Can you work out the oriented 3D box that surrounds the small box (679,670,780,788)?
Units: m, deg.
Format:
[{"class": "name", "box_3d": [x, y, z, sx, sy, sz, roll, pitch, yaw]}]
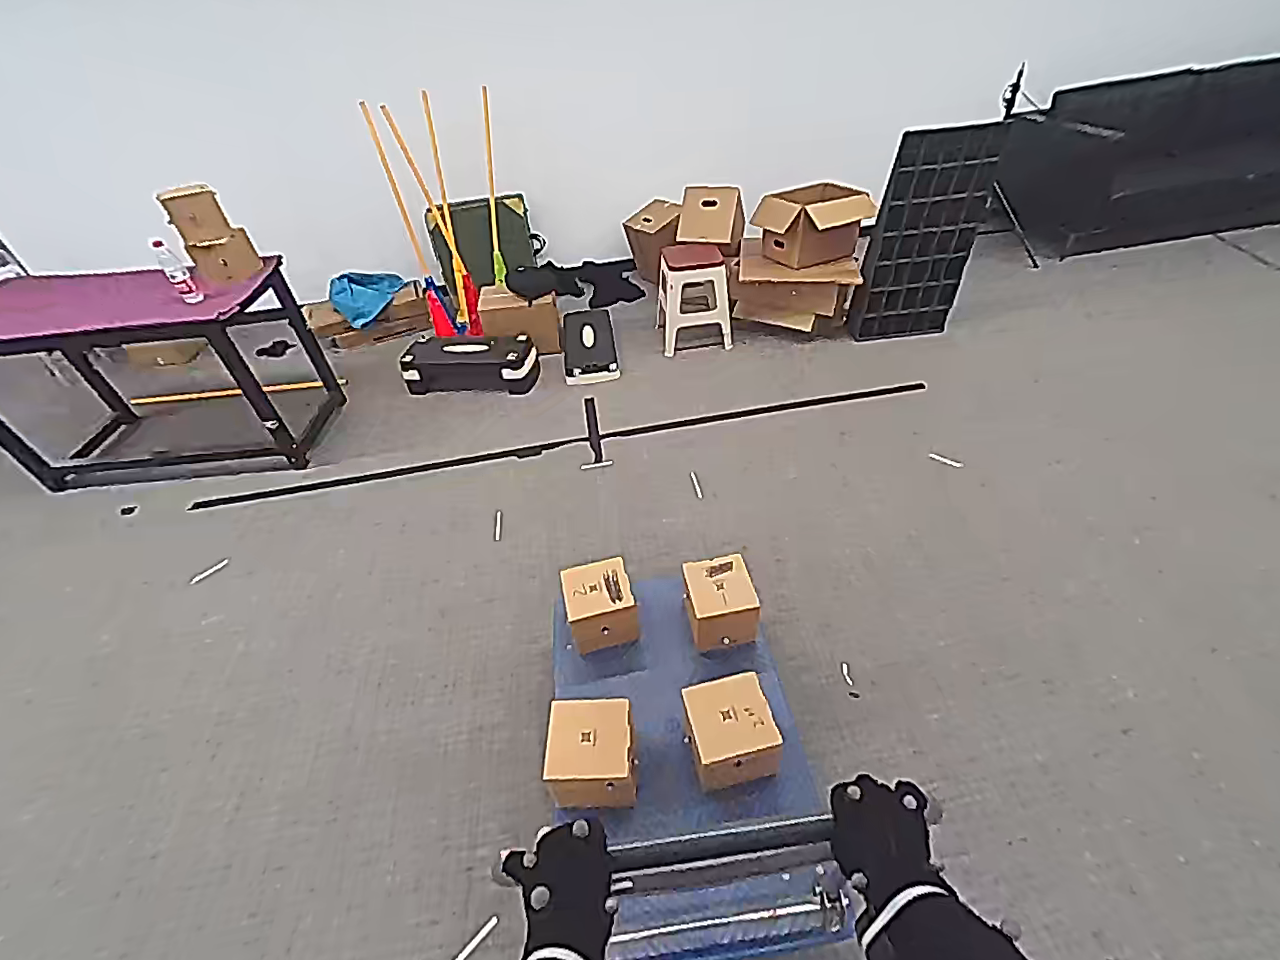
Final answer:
[{"class": "small box", "box_3d": [0.195, 0.556, 1.203, 0.179, 0.176, 0.168, -12, 43, -6]}]

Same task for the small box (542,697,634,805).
[{"class": "small box", "box_3d": [-0.106, 0.599, 1.191, 0.179, 0.176, 0.168, -3, 42, 1]}]

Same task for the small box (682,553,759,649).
[{"class": "small box", "box_3d": [0.208, 0.326, 1.452, 0.168, 0.176, 0.179, -10, 44, -4]}]
